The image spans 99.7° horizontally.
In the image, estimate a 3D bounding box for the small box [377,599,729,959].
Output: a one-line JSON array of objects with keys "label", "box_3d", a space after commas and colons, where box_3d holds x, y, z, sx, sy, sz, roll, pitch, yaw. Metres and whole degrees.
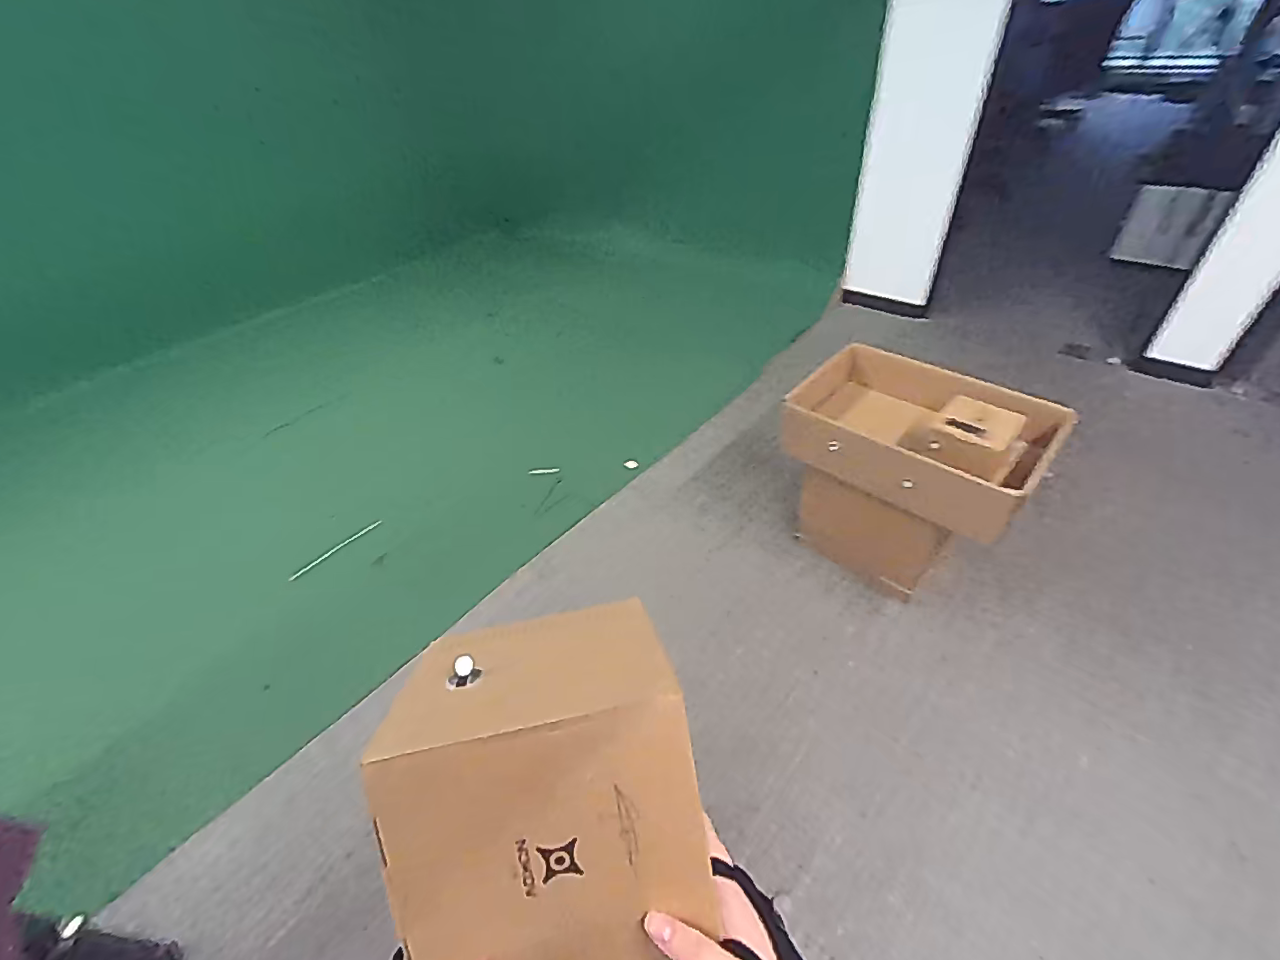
[{"label": "small box", "box_3d": [-0.052, 0.198, 0.379, 0.179, 0.168, 0.176, -9, 7, -7]}]
